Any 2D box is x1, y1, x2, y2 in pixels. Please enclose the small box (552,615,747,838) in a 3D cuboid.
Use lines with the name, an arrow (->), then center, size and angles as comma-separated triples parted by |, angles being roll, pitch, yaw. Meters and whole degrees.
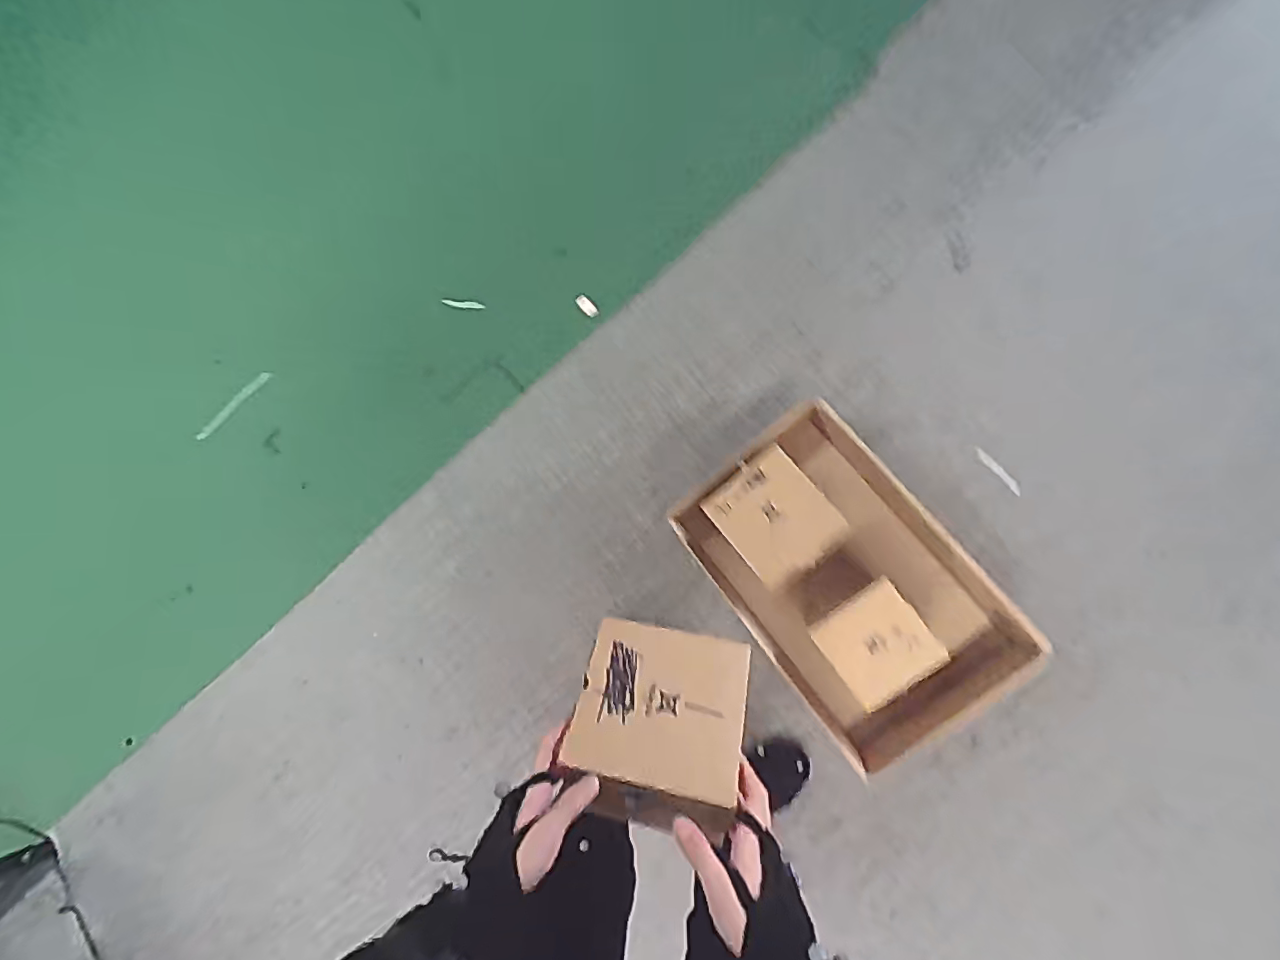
small box -> 0.018, 0.280, 0.612 | 0.179, 0.176, 0.168 | 9, 47, 9

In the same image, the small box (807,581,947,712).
small box -> 0.442, 0.310, 1.040 | 0.179, 0.176, 0.168 | -37, 75, 6

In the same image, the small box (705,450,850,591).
small box -> 0.238, 0.073, 0.956 | 0.168, 0.176, 0.179 | -39, 76, 5
